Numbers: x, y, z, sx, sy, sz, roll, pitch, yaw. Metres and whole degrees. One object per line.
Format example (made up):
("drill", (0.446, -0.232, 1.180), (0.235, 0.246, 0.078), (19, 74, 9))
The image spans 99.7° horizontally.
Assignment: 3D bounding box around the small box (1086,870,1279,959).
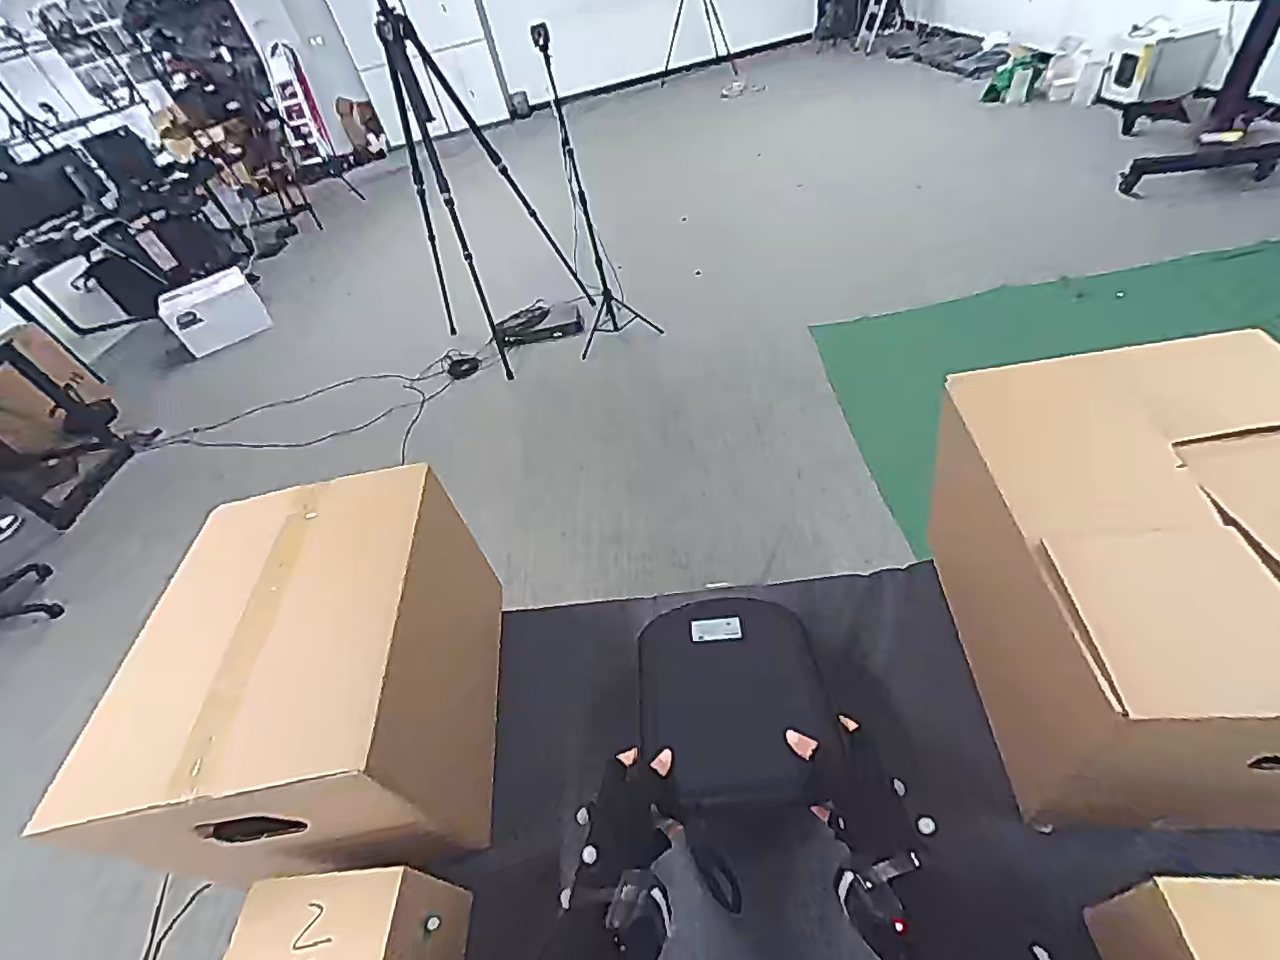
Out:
("small box", (0.491, 0.417, 0.407), (0.168, 0.176, 0.179), (-6, 46, 11))
